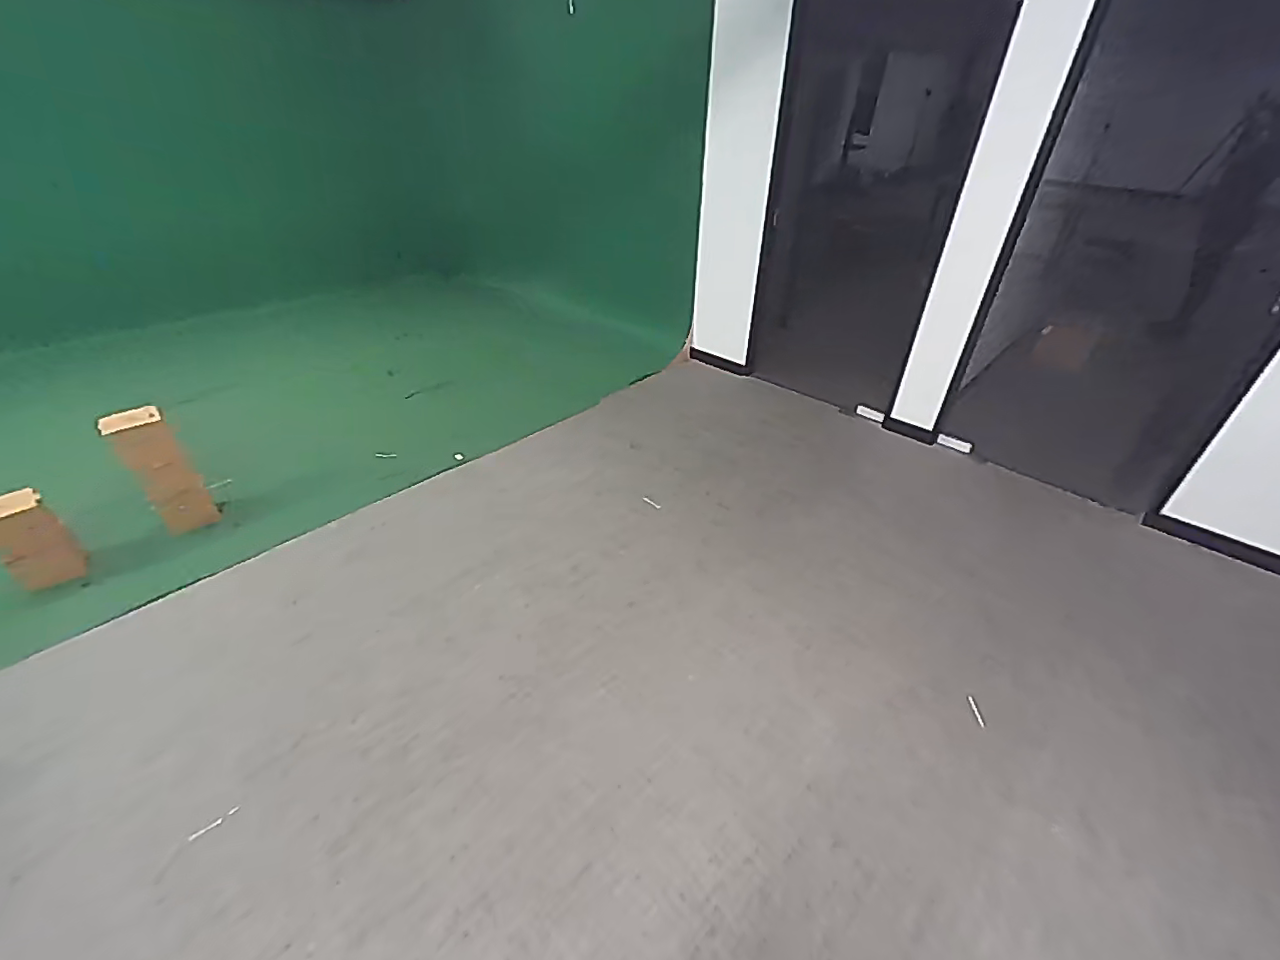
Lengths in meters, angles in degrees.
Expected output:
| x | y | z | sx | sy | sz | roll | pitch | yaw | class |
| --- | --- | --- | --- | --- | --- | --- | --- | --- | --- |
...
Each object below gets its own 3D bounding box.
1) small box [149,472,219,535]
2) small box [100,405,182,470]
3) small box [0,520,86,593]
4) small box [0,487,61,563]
| x | y | z | sx | sy | sz | roll | pitch | yaw | class |
| --- | --- | --- | --- | --- | --- | --- | --- | --- | --- |
| -1.920 | 0.100 | 2.283 | 0.179 | 0.176 | 0.168 | -27 | 45 | -33 | small box |
| -1.923 | -0.162 | 2.086 | 0.179 | 0.176 | 0.168 | -29 | 45 | -34 | small box |
| -2.220 | 0.283 | 2.015 | 0.179 | 0.176 | 0.168 | -25 | 43 | -32 | small box |
| -2.210 | 0.157 | 1.913 | 0.168 | 0.176 | 0.179 | 28 | 44 | 33 | small box |
